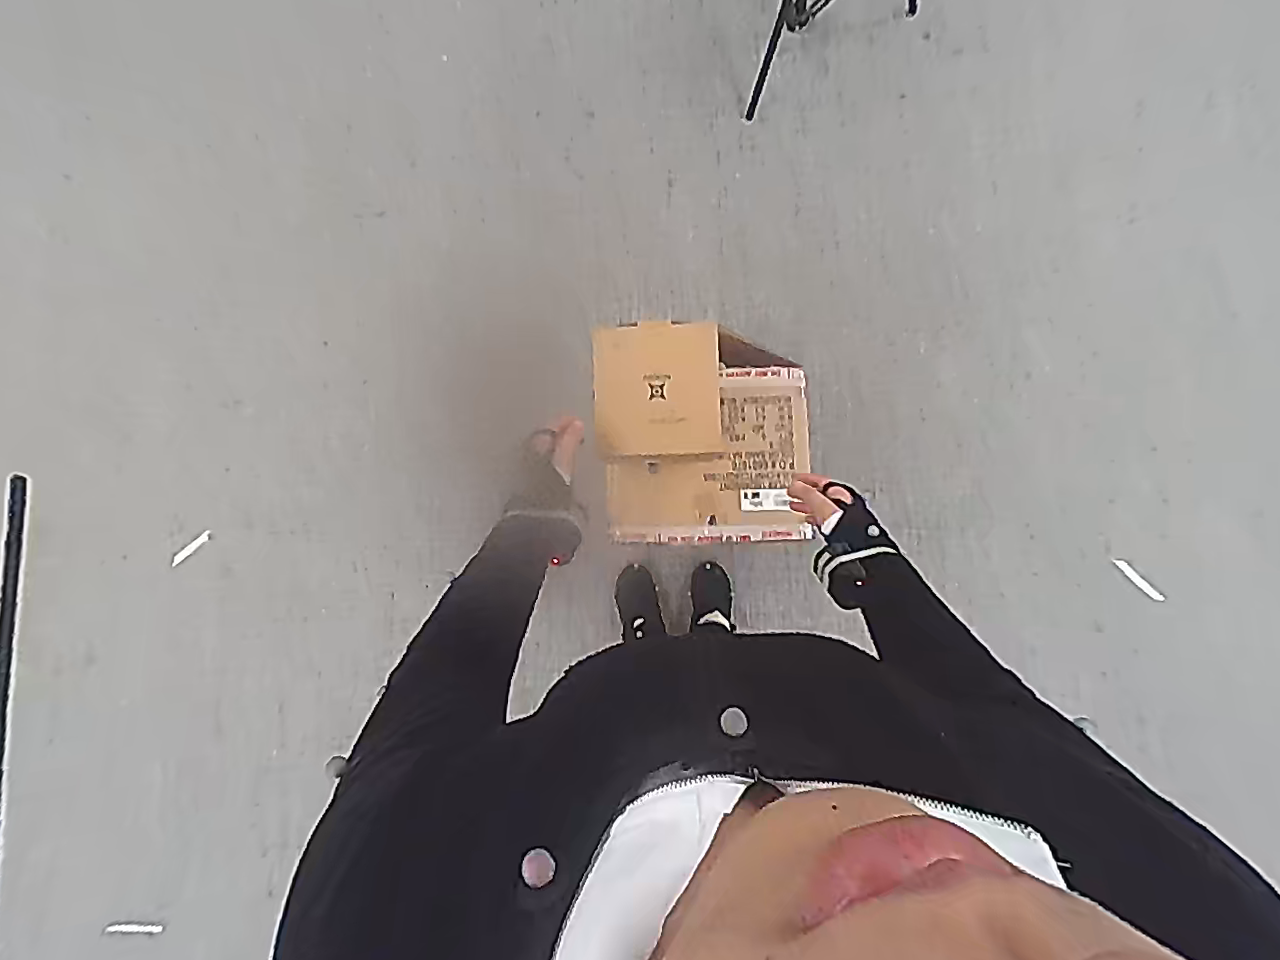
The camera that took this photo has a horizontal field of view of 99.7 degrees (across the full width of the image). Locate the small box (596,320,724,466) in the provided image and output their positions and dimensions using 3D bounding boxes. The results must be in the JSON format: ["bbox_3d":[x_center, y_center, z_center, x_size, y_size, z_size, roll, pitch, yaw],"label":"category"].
[{"bbox_3d":[0.029,-0.116,0.782,0.168,0.176,0.179,-2,88,4],"label":"small box"}]
